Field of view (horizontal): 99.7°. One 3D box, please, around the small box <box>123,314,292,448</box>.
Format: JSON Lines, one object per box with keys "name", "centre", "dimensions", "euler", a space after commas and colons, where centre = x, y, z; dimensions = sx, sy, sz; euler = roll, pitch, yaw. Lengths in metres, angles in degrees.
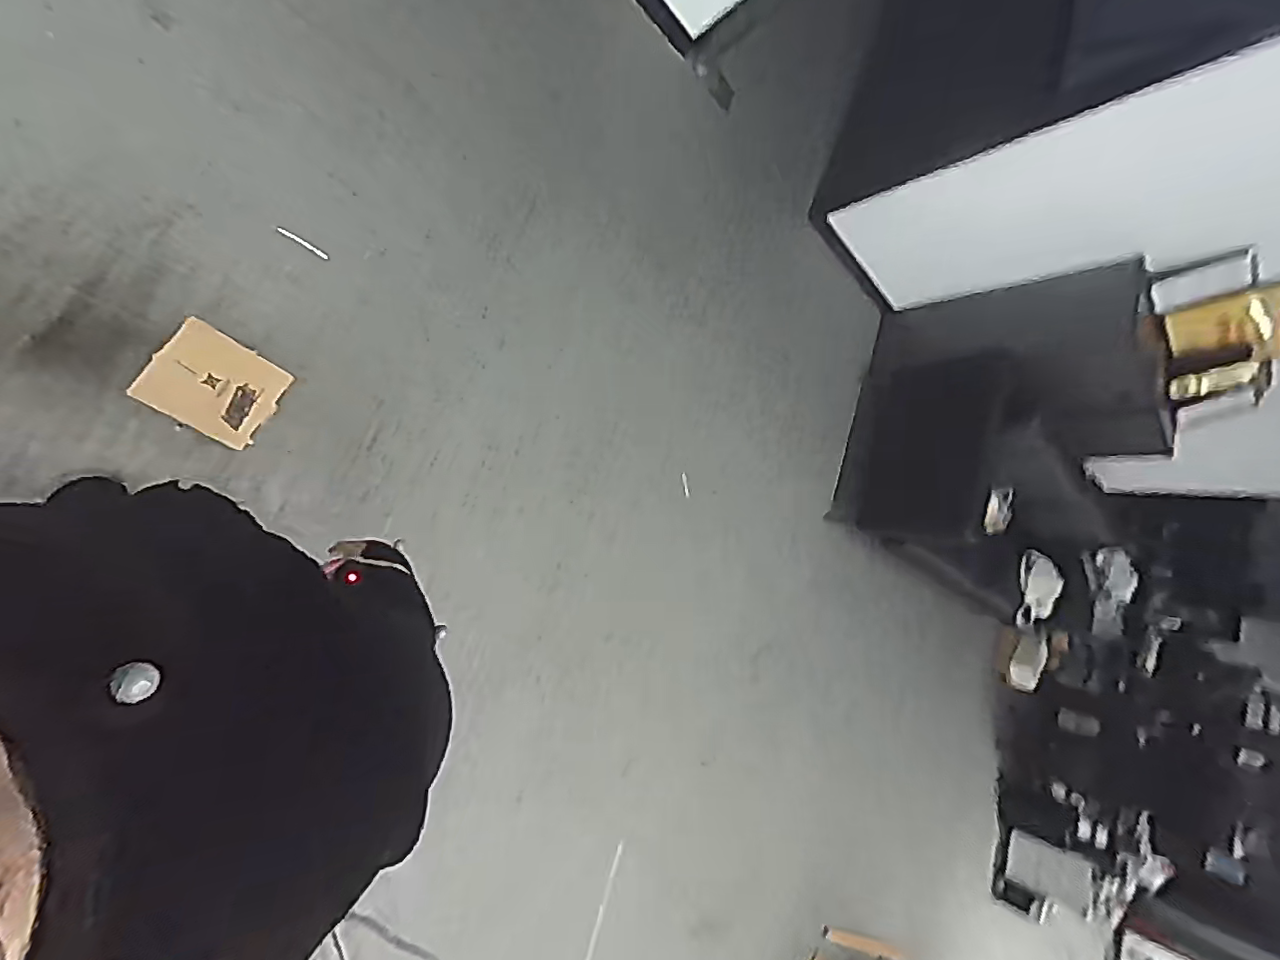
{"name": "small box", "centre": [-0.783, -0.173, 0.994], "dimensions": [0.179, 0.176, 0.168], "euler": [38, 69, -33]}
